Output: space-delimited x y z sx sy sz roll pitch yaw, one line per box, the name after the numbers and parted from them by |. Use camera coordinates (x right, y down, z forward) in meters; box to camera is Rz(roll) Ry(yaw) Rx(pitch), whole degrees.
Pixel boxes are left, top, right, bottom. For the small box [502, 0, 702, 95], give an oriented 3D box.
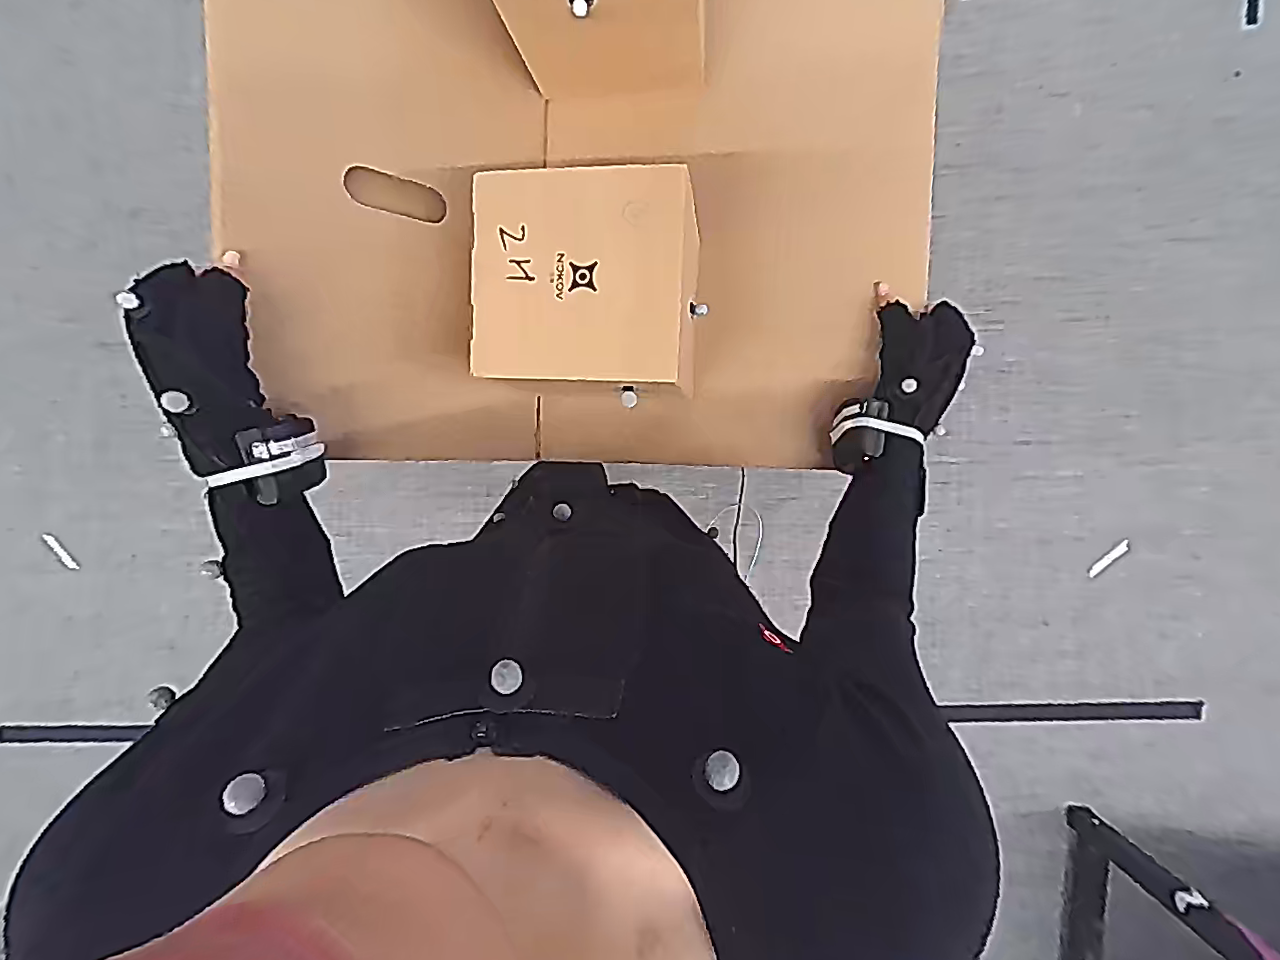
-0.034 -0.492 0.498 0.179 0.176 0.168 1 94 9 | small box

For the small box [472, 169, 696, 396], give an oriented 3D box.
-0.040 -0.172 0.517 0.179 0.176 0.168 4 94 10 | small box
